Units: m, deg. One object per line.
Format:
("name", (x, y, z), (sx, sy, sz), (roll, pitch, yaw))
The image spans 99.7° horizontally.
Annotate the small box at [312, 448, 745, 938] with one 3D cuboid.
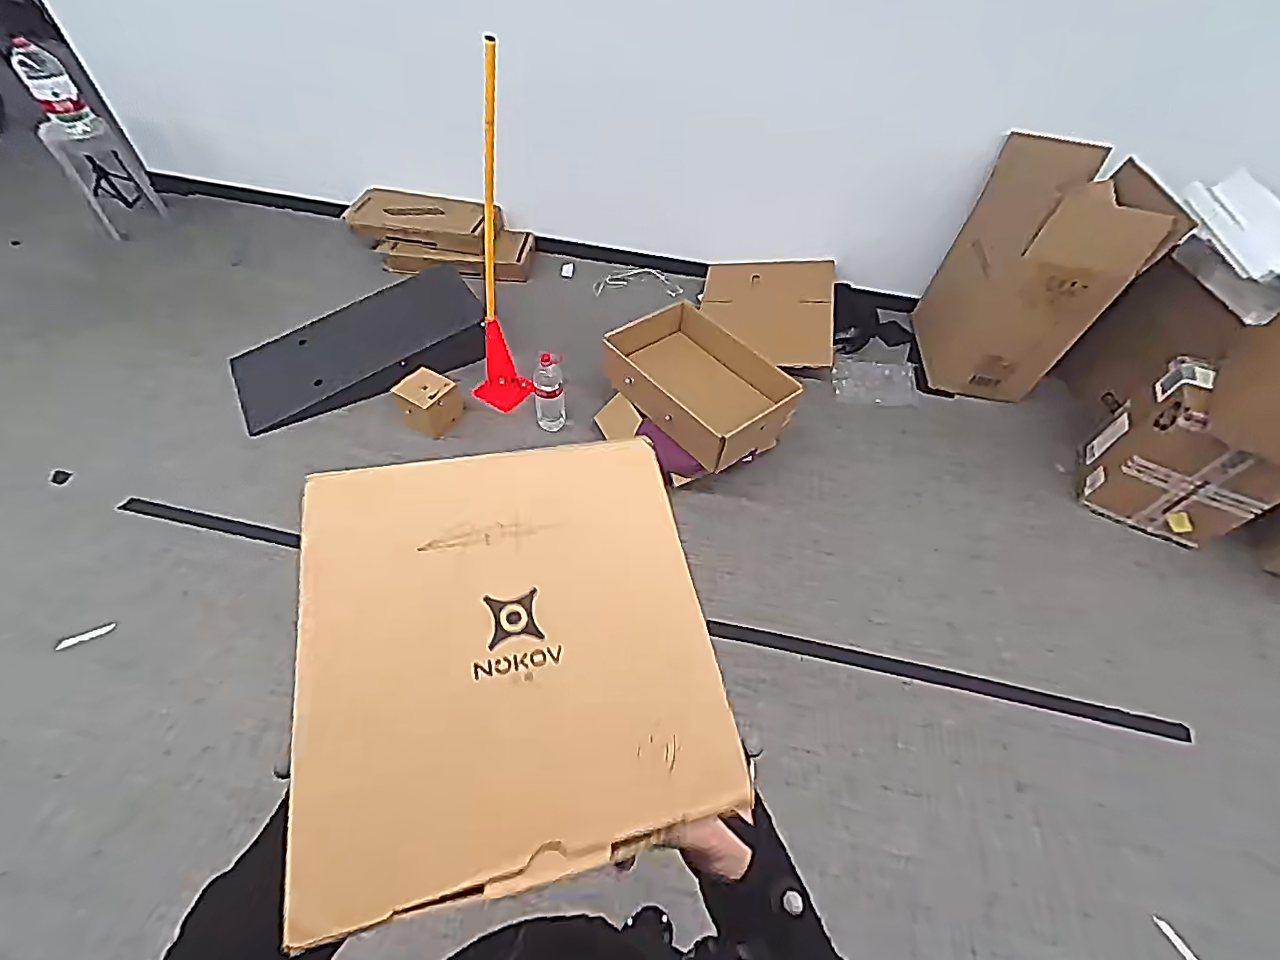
("small box", (-0.067, 0.108, 0.307), (0.168, 0.176, 0.179), (-9, 61, -17))
